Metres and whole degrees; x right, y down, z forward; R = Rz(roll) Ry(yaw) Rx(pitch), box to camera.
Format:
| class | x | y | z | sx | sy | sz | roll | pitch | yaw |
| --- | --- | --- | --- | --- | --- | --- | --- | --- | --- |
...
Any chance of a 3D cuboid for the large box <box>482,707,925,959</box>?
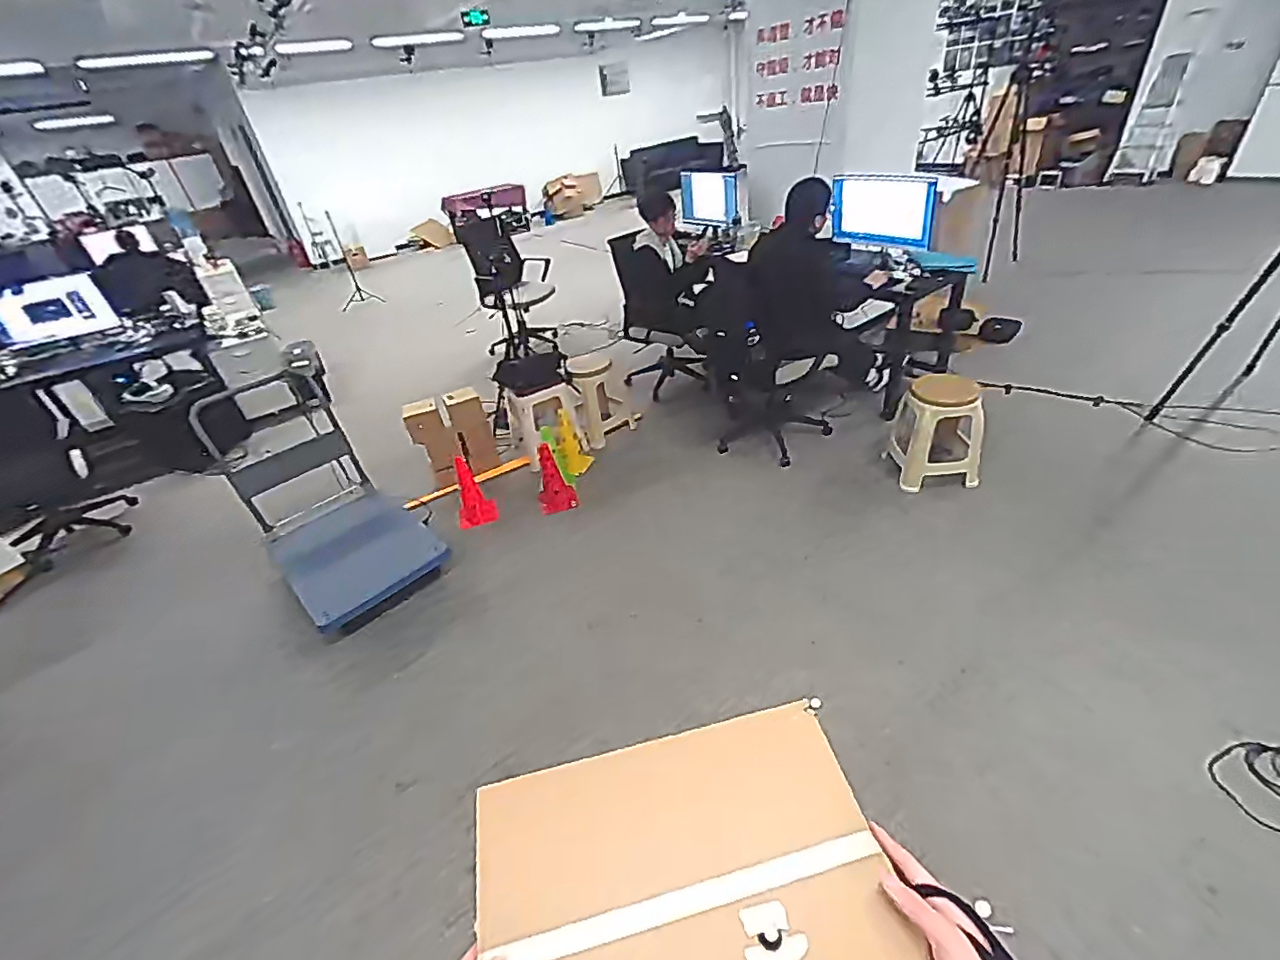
| class | x | y | z | sx | sy | sz | roll | pitch | yaw |
| --- | --- | --- | --- | --- | --- | --- | --- | --- | --- |
| large box | 0.055 | 0.533 | 0.634 | 0.408 | 0.320 | 0.320 | -12 | 43 | -8 |
